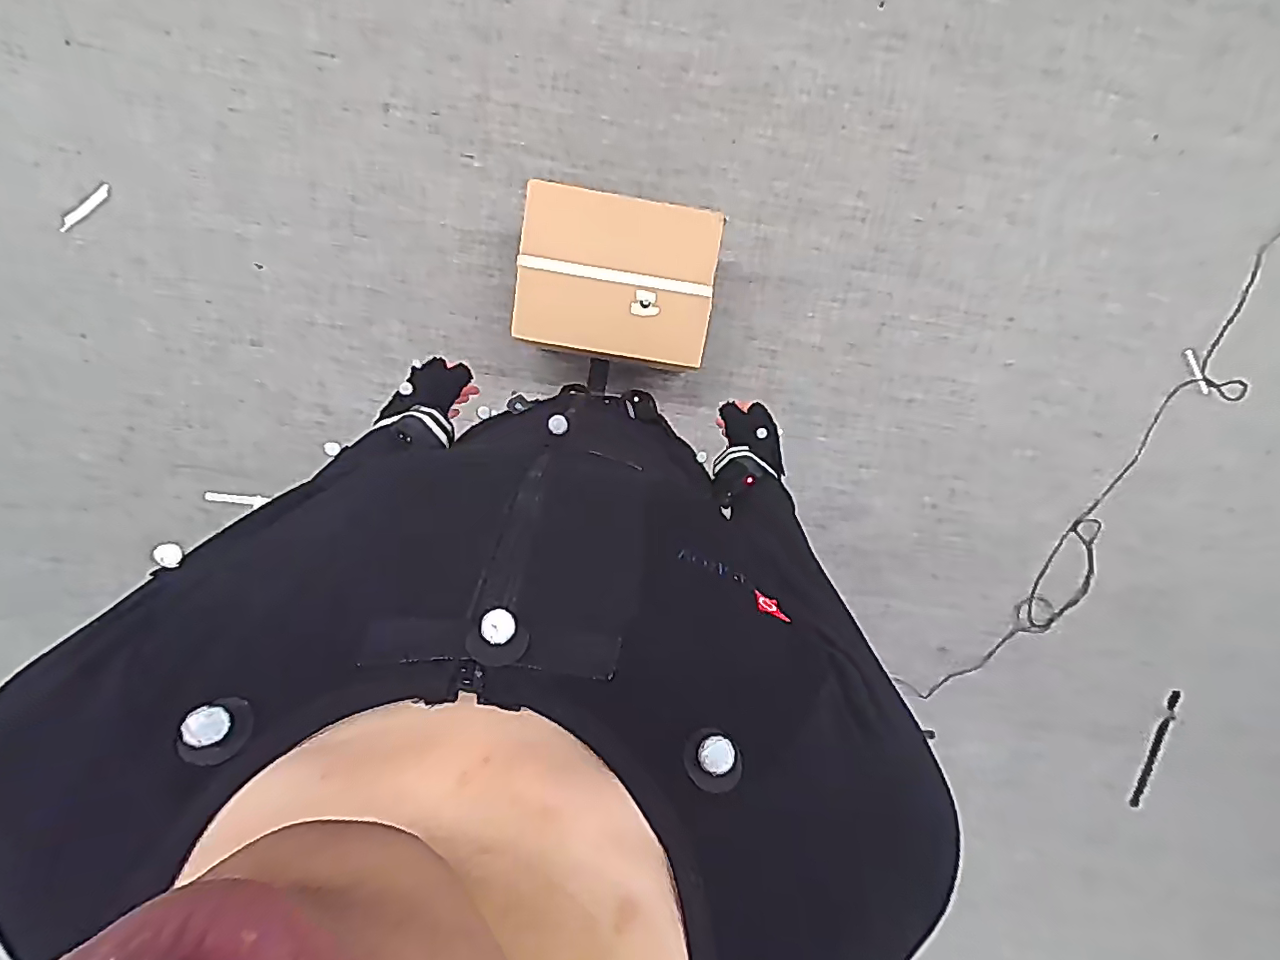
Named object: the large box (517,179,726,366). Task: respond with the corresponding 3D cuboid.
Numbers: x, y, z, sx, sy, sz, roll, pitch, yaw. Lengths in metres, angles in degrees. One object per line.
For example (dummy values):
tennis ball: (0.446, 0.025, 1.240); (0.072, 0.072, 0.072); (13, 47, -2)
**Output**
large box: (-0.050, -0.451, 1.257); (0.408, 0.320, 0.320); (8, 100, -4)
